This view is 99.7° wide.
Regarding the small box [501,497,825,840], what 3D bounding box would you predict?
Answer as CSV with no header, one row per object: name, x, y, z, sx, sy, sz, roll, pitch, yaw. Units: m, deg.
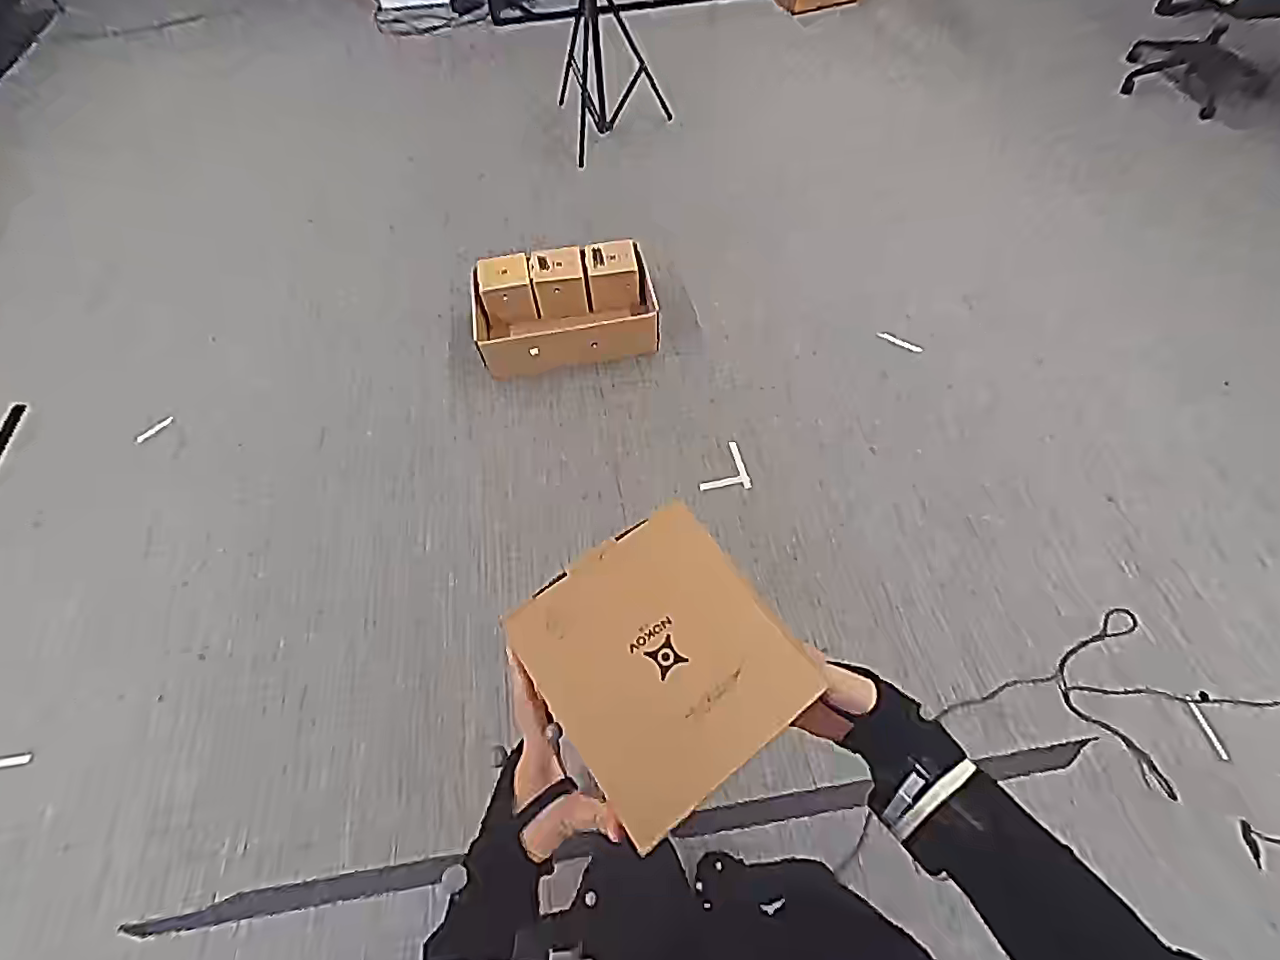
small box,0.010,0.151,0.449,0.168,0.176,0.179,-33,71,-16
